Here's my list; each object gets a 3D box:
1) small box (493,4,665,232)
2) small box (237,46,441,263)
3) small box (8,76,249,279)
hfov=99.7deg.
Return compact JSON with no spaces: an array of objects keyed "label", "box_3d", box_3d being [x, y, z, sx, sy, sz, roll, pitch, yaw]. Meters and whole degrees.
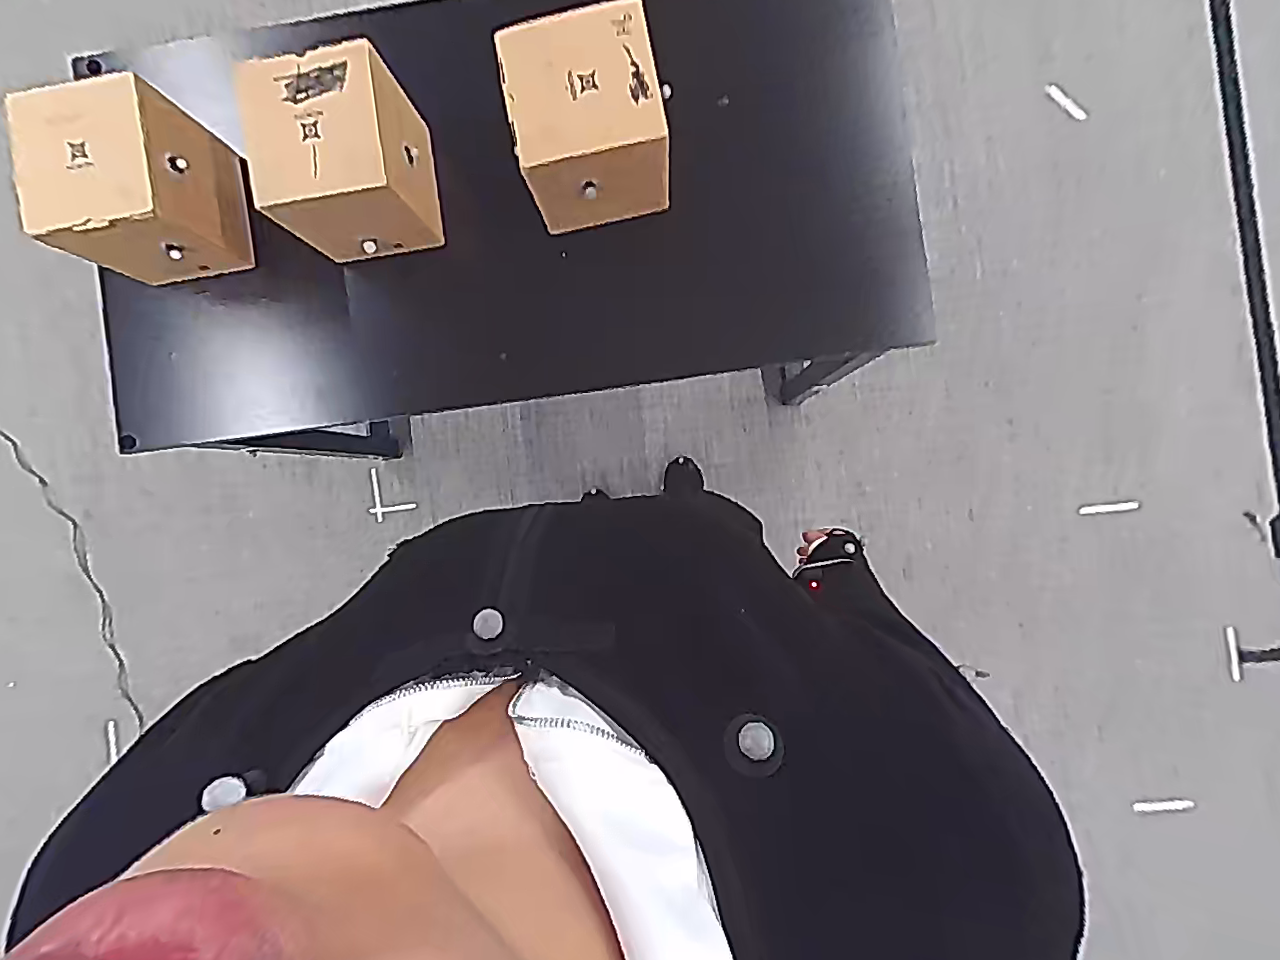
[{"label":"small box","box_3d":[-0.068,-0.450,0.704,0.179,0.176,0.168,-12,89,3]},{"label":"small box","box_3d":[-0.384,-0.416,0.717,0.168,0.176,0.179,-8,90,3]},{"label":"small box","box_3d":[-0.670,-0.388,0.731,0.168,0.176,0.179,-9,88,1]}]
